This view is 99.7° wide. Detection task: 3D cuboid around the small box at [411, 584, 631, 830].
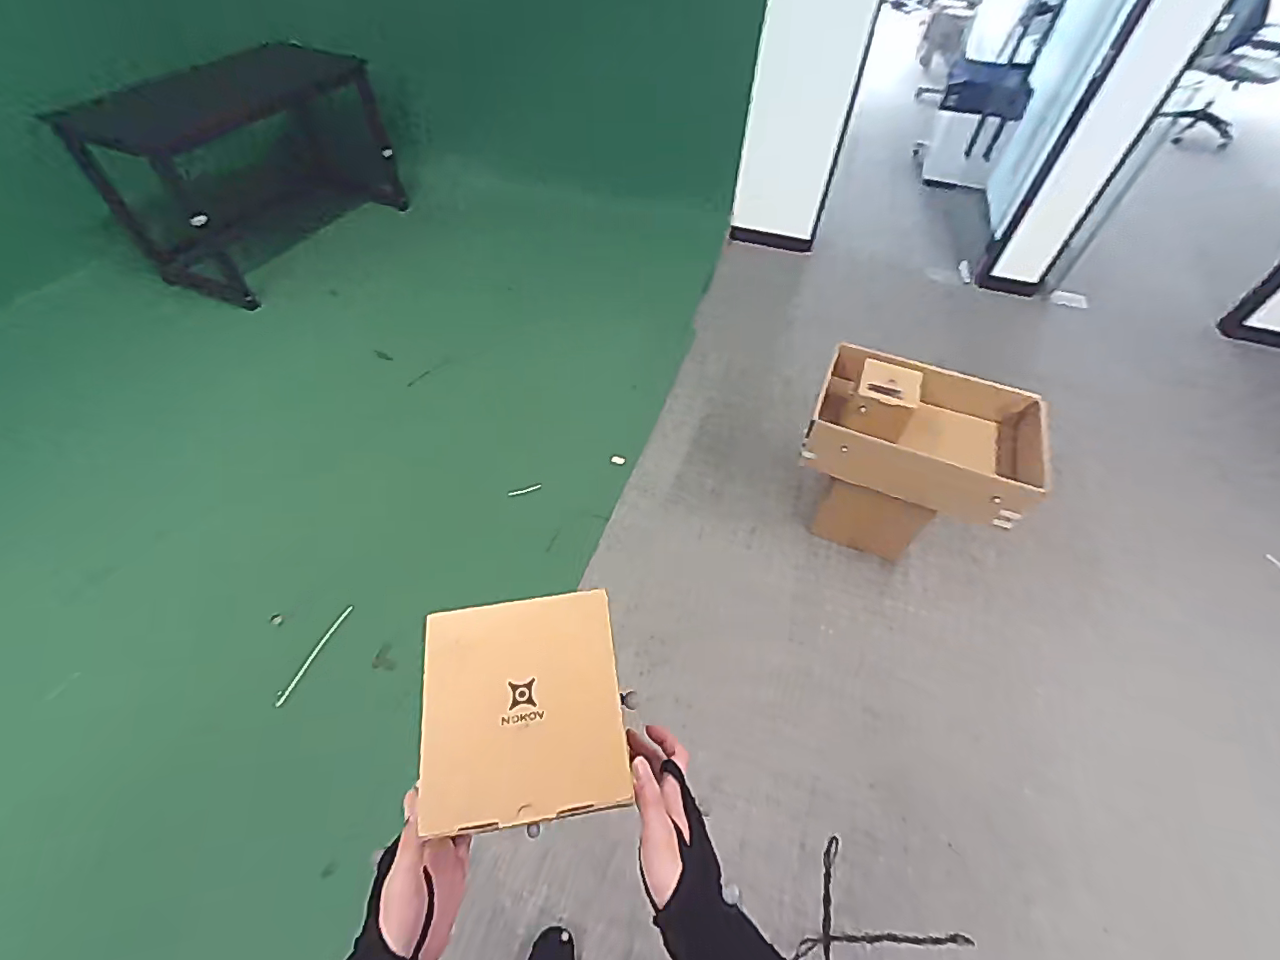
[{"bbox_3d":[-0.102,0.217,0.516,0.168,0.176,0.179,-7,60,-6],"label":"small box"}]
